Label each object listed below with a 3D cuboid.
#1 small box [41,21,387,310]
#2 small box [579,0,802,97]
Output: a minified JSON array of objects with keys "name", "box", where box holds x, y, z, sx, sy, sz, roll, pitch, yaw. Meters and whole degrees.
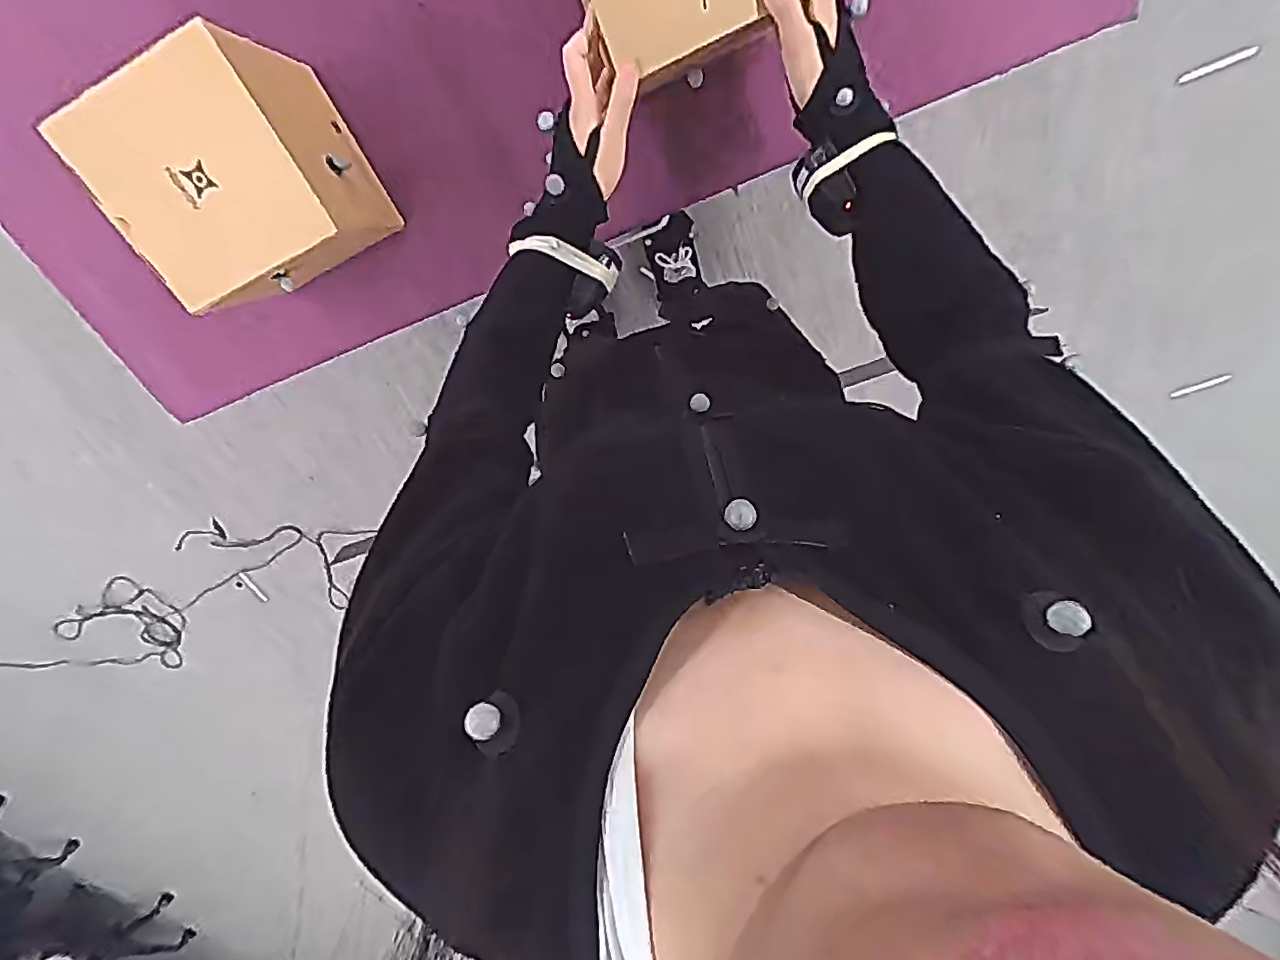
[{"name":"small box","box":[-0.379,-0.294,0.529,0.179,0.176,0.168,-22,116,11]},{"name":"small box","box":[0.022,-0.454,0.449,0.168,0.176,0.179,-20,121,9]}]
